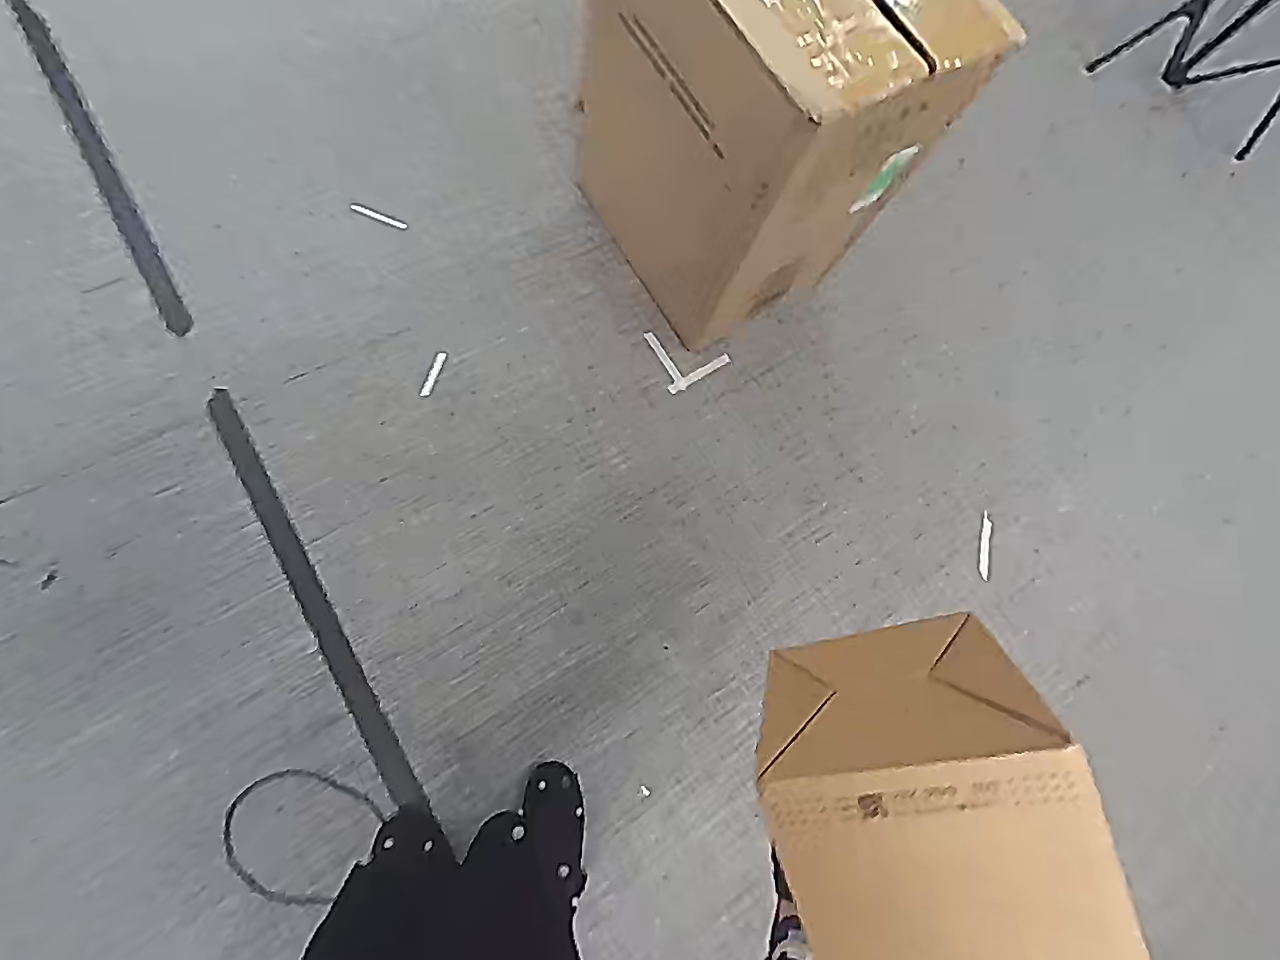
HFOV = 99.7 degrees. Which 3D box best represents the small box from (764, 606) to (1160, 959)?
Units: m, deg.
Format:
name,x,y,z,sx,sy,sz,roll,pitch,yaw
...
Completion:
name,x,y,z,sx,sy,sz,roll,pitch,yaw
small box,0.190,0.202,0.360,0.168,0.179,0.176,-19,94,19
